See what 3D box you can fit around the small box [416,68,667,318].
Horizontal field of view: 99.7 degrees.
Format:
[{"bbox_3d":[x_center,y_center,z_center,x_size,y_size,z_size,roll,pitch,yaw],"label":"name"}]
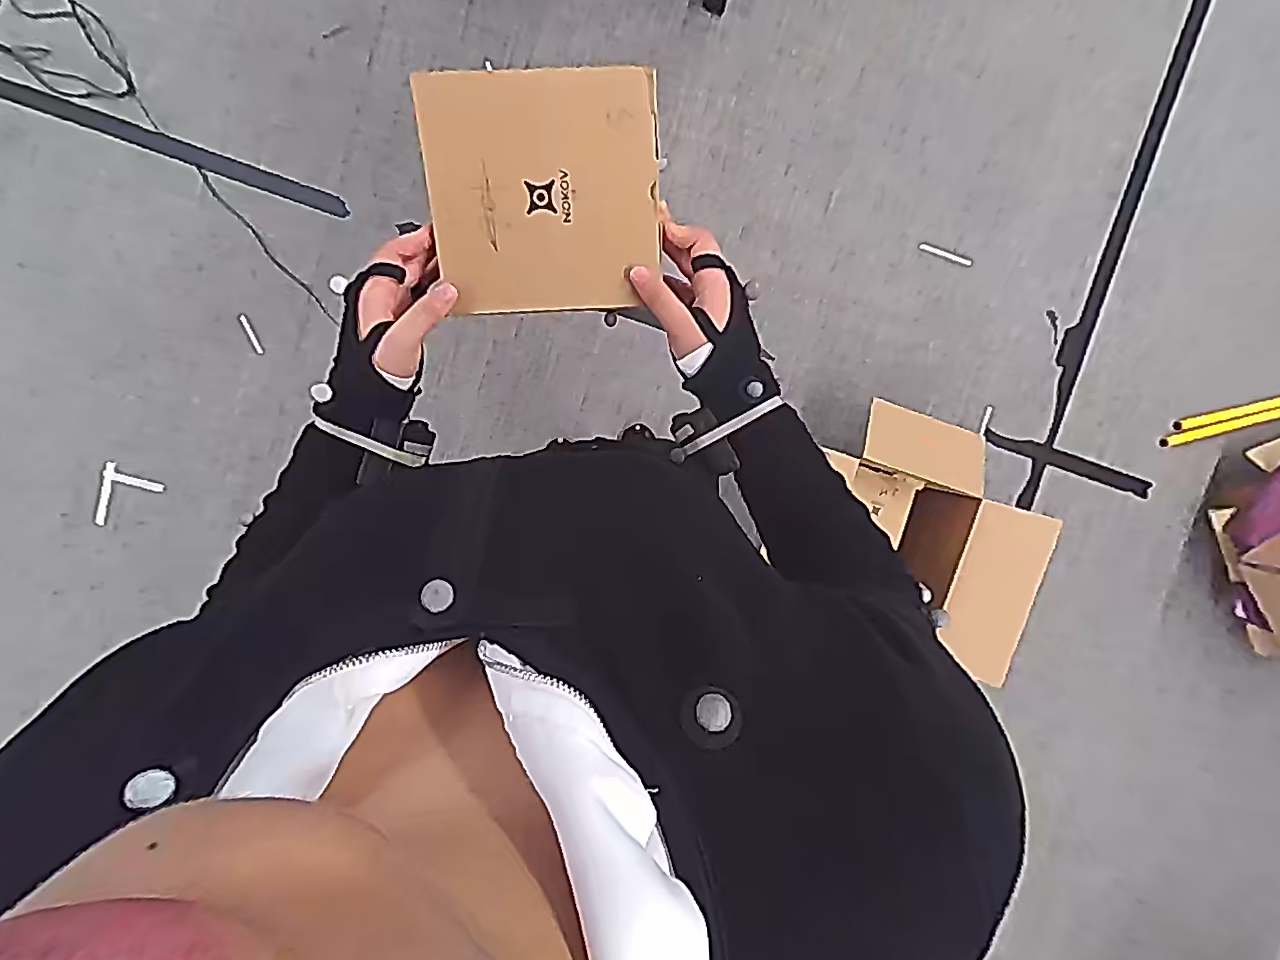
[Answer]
[{"bbox_3d":[-0.074,-0.237,0.486,0.179,0.176,0.168,-4,106,-1],"label":"small box"}]
